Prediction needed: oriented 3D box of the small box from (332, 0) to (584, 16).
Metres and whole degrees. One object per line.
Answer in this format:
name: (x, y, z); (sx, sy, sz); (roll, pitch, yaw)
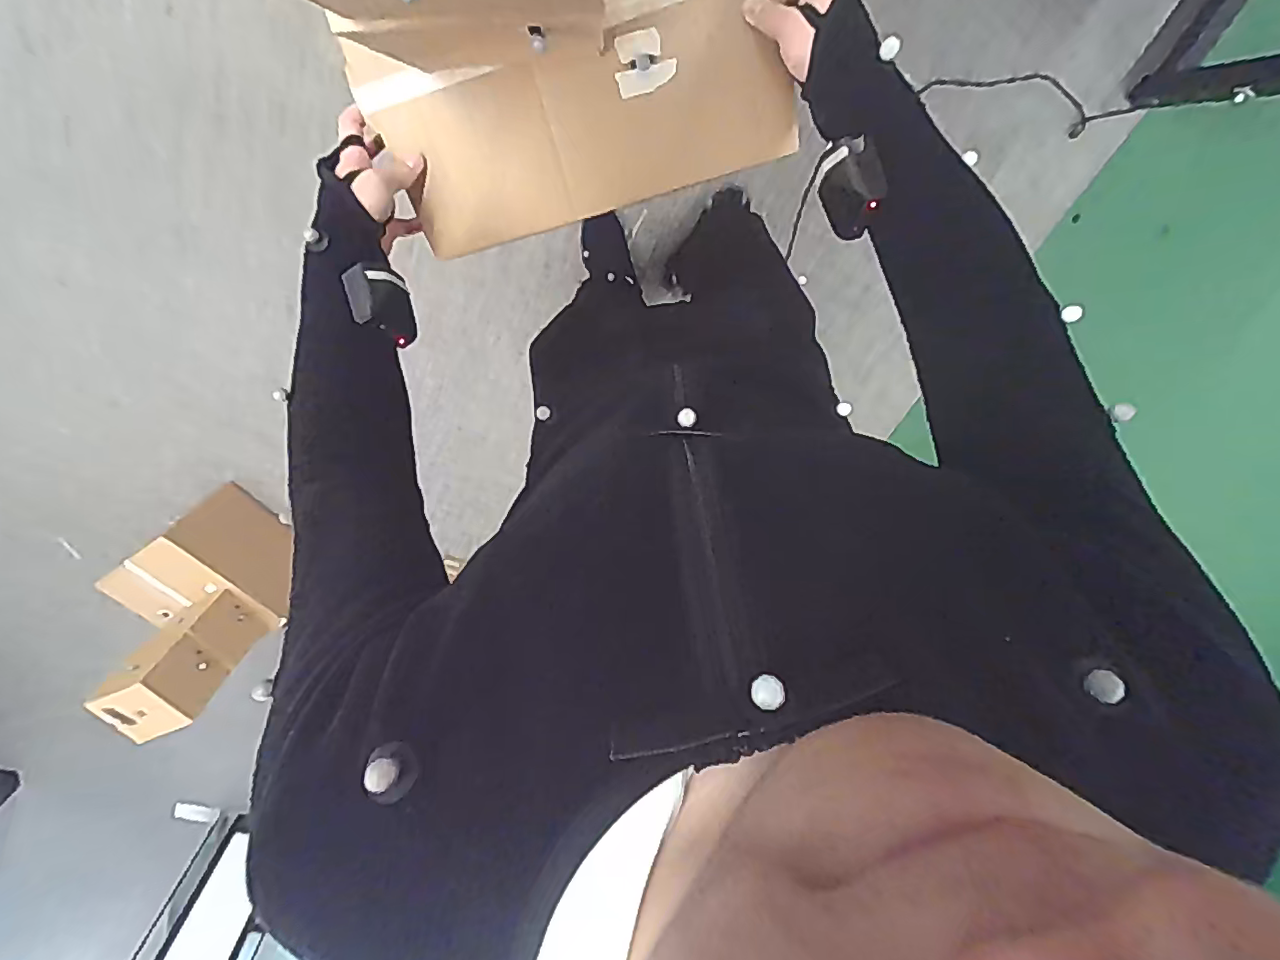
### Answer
small box: (-0.112, -0.331, 0.241); (0.179, 0.176, 0.168); (0, 121, -1)

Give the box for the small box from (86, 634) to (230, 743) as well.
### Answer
small box: (-1.213, 0.527, 1.378); (0.179, 0.176, 0.168); (-22, 119, 8)

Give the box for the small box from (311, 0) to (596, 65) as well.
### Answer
small box: (-0.131, -0.413, 0.382); (0.179, 0.176, 0.168); (-4, 120, 1)

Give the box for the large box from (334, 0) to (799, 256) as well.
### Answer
large box: (-0.077, -0.494, 0.617); (0.408, 0.320, 0.320); (-15, 121, 7)
